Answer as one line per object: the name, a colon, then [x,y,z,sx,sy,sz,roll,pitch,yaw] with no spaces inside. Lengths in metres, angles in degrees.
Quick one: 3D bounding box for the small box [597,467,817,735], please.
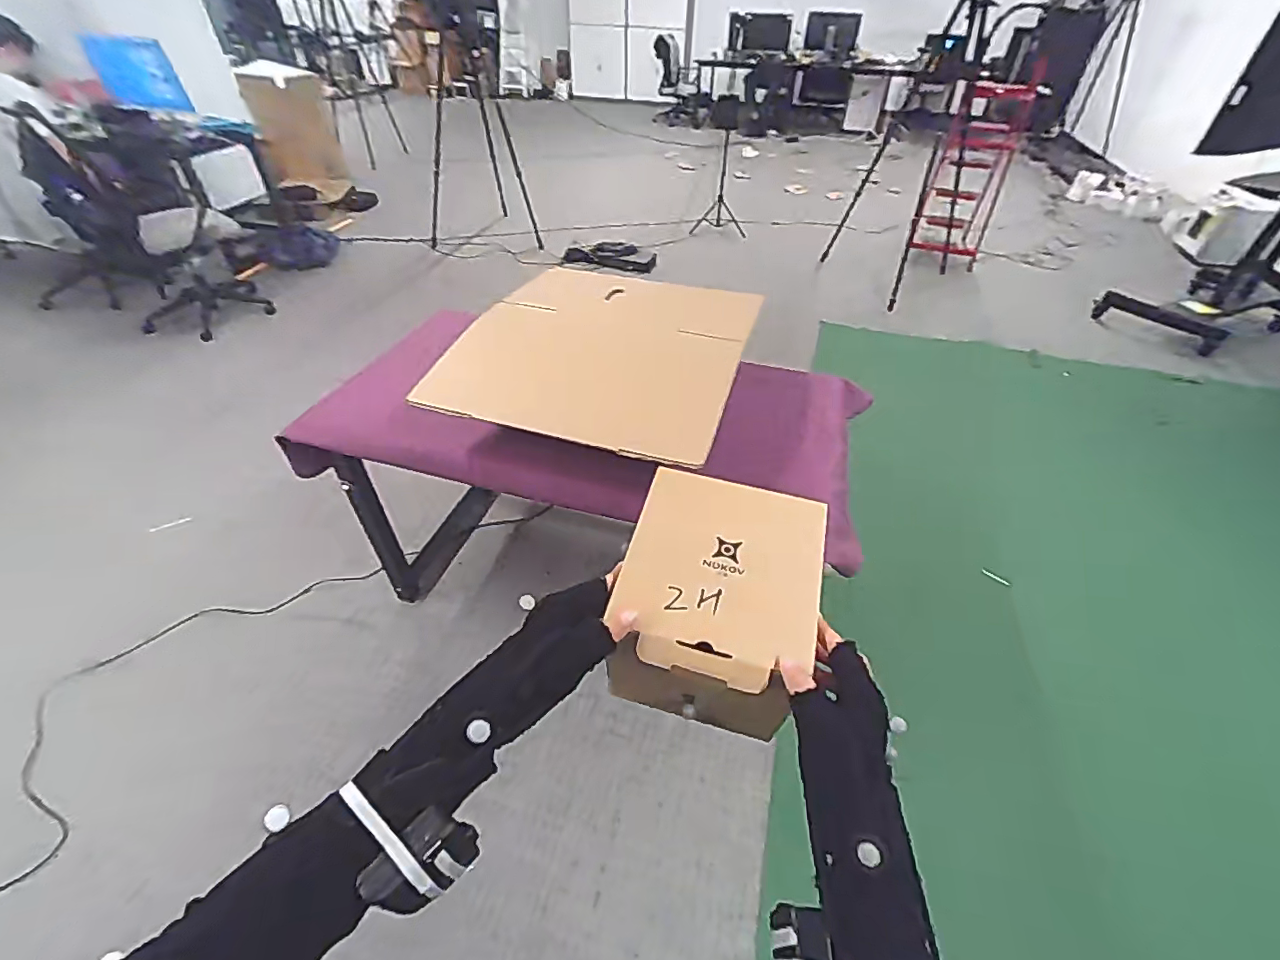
small box: [0.064,0.120,0.532,0.168,0.176,0.179,13,51,10]
